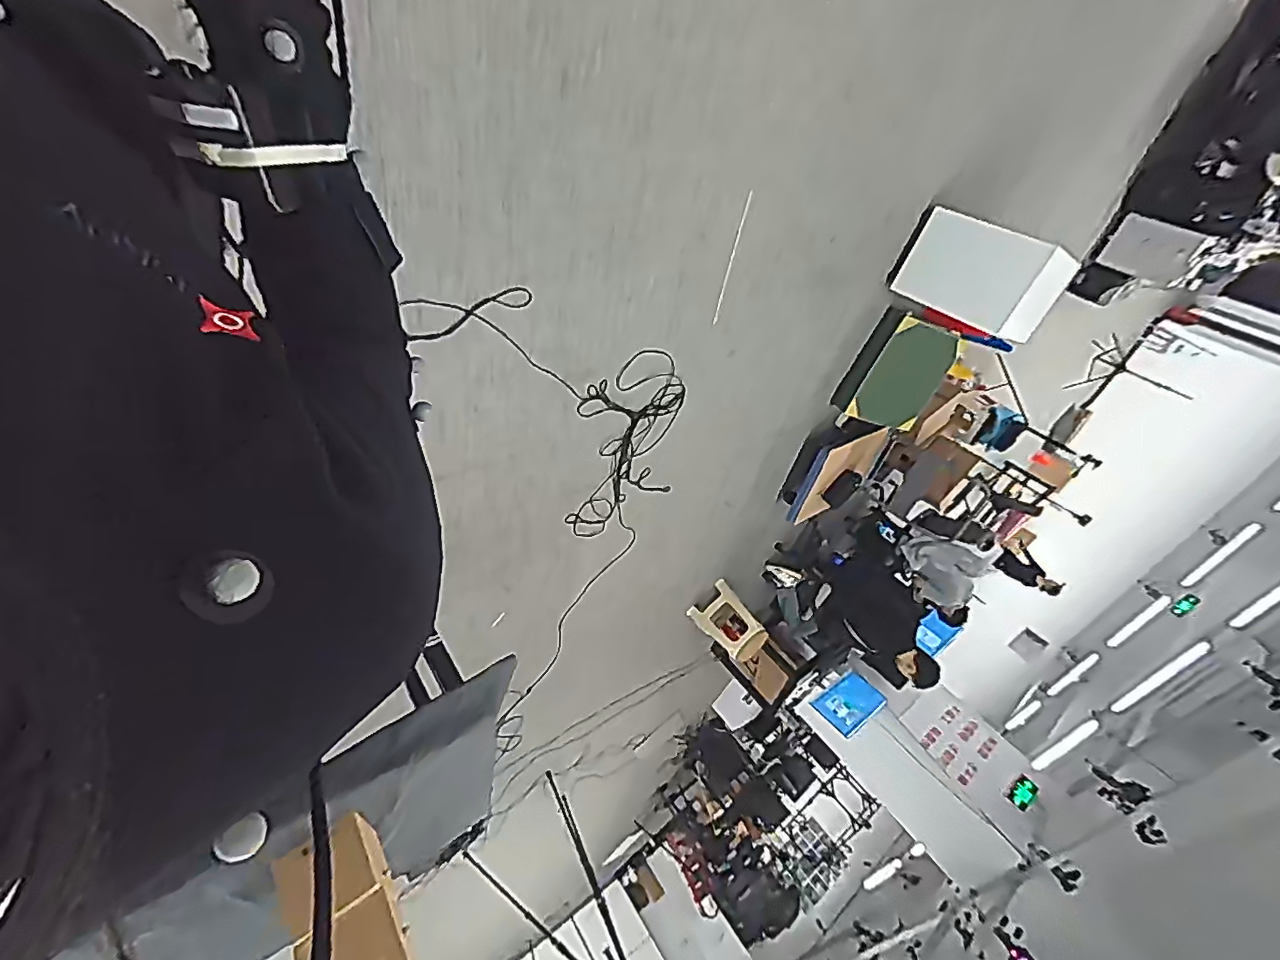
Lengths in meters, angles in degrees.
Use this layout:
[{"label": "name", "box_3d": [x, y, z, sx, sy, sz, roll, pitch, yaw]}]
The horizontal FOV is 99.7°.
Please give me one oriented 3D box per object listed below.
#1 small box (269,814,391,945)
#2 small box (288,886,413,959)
[{"label": "small box", "box_3d": [-0.671, 0.869, 1.176, 0.168, 0.176, 0.179, -26, 142, -28]}, {"label": "small box", "box_3d": [-0.578, 0.977, 1.096, 0.179, 0.176, 0.168, -22, 139, -31]}]
